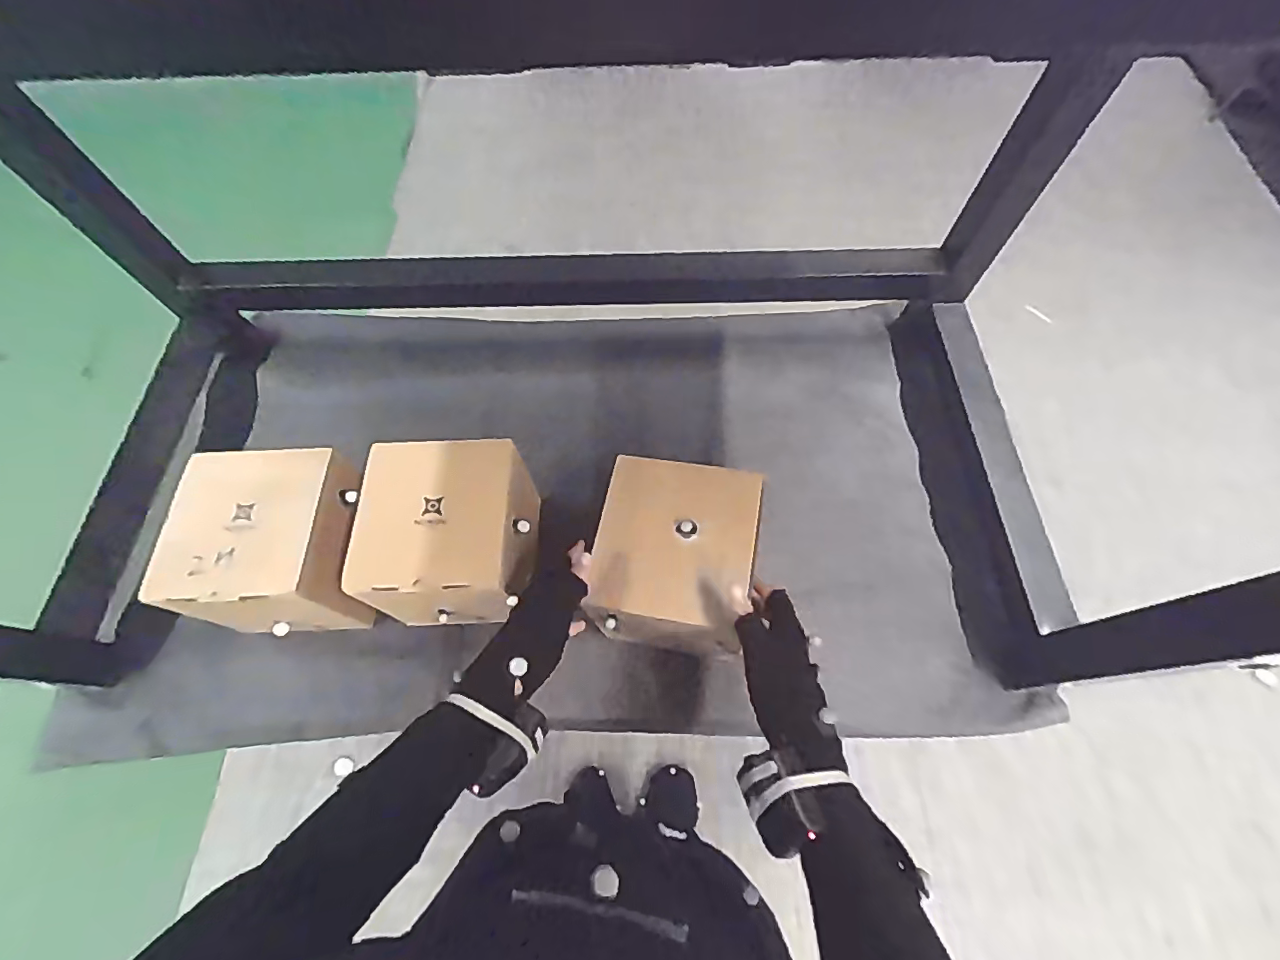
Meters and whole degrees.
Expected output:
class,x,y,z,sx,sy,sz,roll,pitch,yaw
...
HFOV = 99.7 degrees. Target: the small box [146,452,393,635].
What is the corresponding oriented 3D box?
class,x,y,z,sx,sy,sz,roll,pitch,yaw
small box,-0.426,0.082,0.662,0.168,0.176,0.179,-2,63,1
